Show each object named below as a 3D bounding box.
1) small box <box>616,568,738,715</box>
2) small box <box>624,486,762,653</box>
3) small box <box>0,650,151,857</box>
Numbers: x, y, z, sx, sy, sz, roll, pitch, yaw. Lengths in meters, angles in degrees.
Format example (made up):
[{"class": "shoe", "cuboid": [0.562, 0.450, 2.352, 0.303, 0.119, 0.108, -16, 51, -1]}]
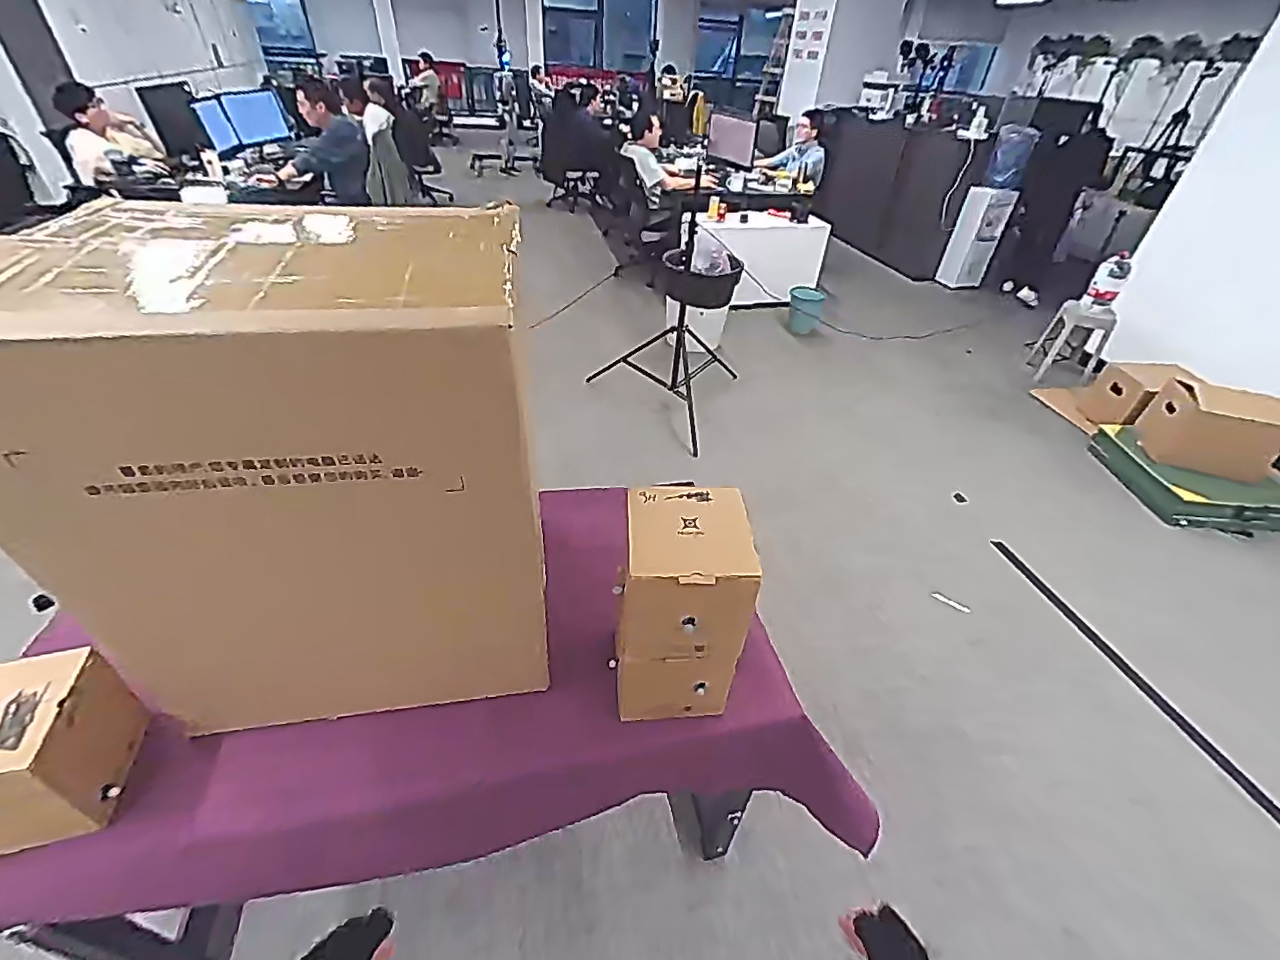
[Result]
[{"class": "small box", "cuboid": [0.048, 0.259, 0.868, 0.168, 0.176, 0.179, -1, 37, -7]}, {"class": "small box", "cuboid": [0.064, 0.128, 0.770, 0.168, 0.176, 0.179, 2, 39, -3]}, {"class": "small box", "cuboid": [-0.776, 0.347, 0.679, 0.179, 0.176, 0.168, -8, 38, -16]}]
